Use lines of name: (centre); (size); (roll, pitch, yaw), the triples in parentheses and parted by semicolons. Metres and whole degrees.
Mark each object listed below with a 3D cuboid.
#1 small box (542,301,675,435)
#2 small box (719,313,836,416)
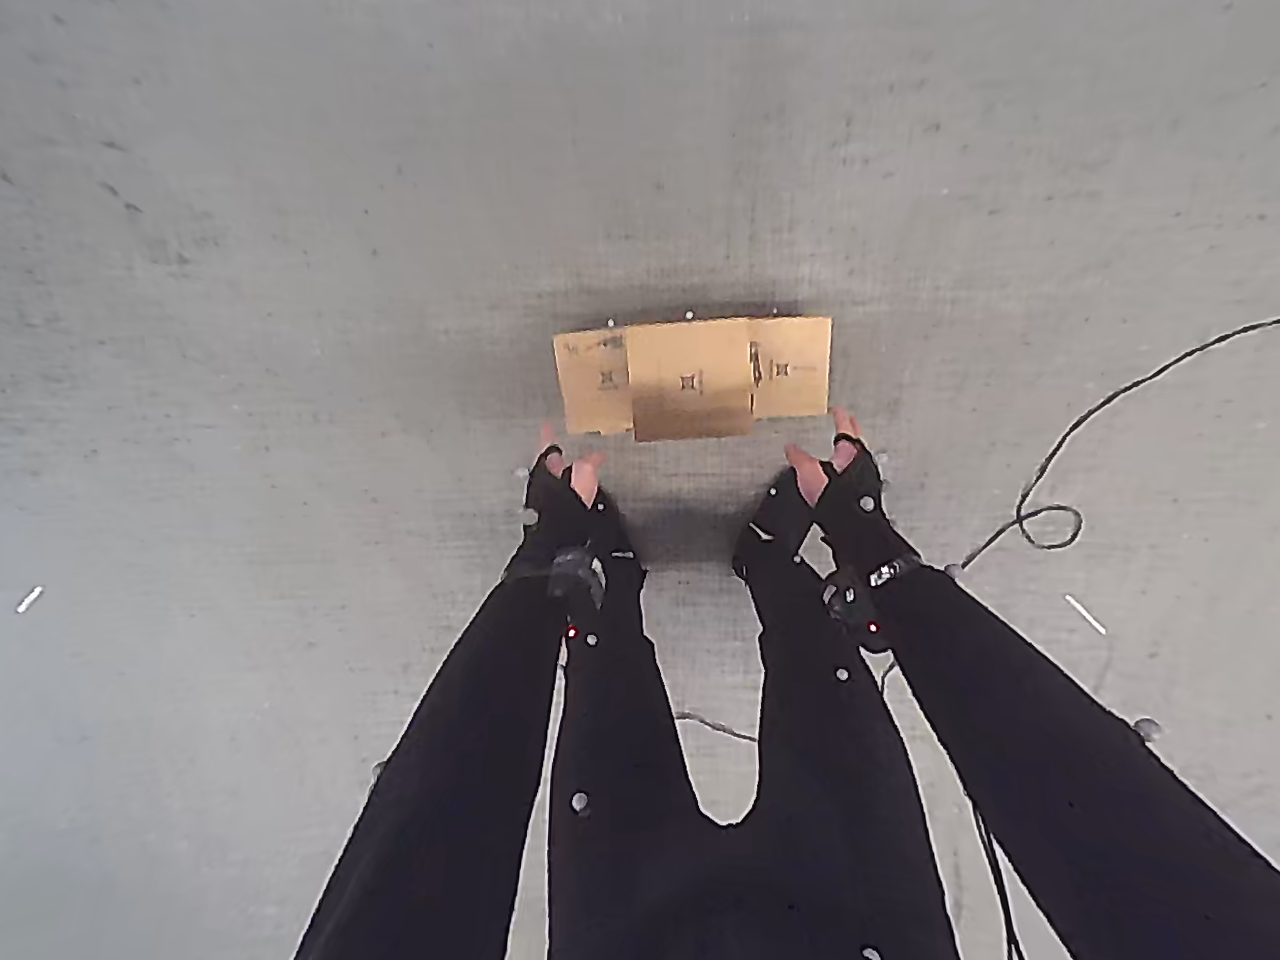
small box: (-0.047, -0.209, 1.005); (0.179, 0.176, 0.168); (-34, 100, 14)
small box: (0.240, -0.217, 0.991); (0.179, 0.176, 0.168); (2, 109, 3)
